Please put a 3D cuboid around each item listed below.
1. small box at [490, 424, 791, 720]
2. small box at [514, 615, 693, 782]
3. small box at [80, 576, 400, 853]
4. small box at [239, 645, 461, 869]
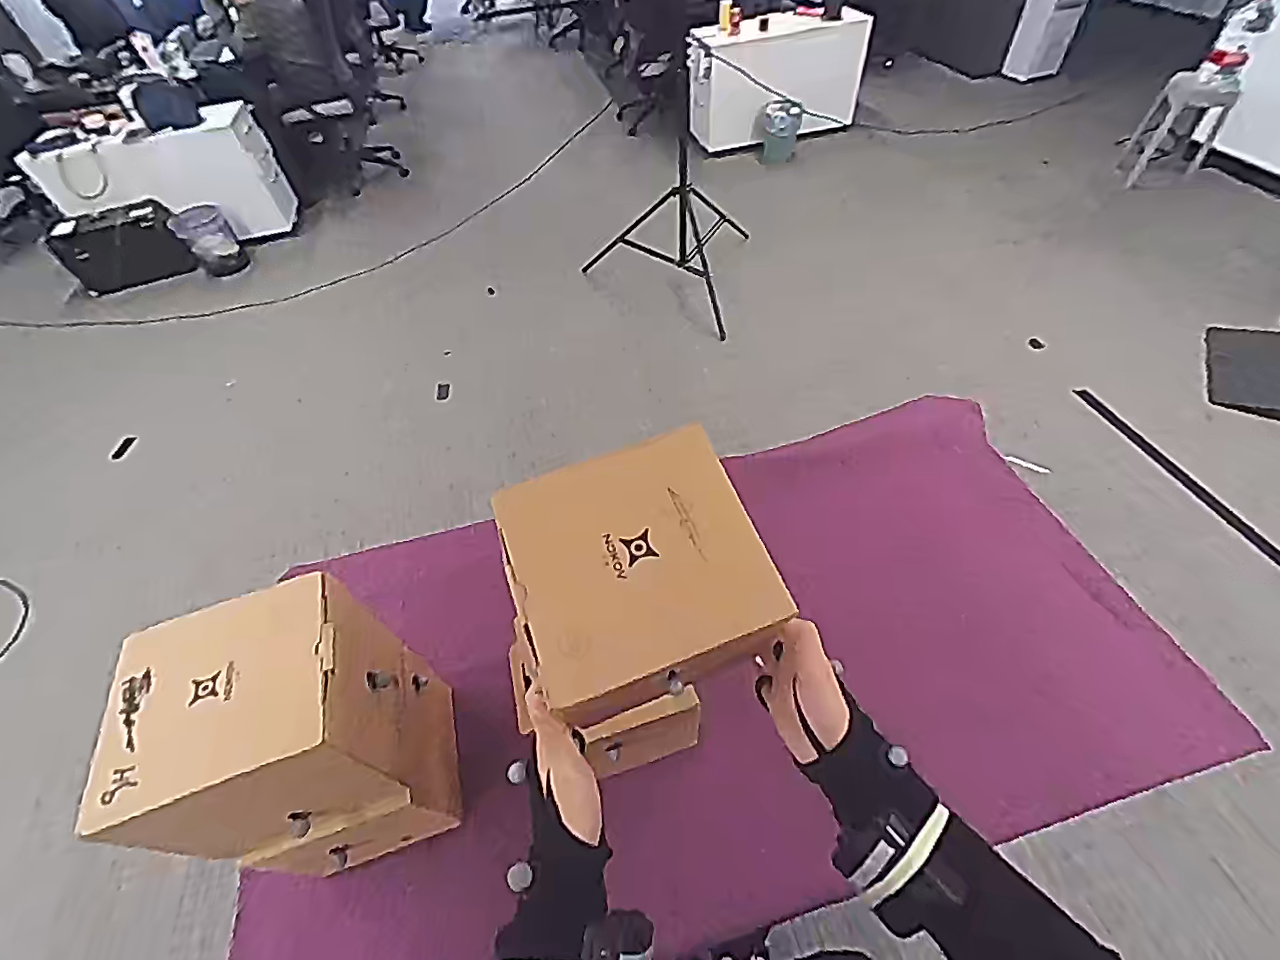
[{"bbox_3d":[-0.003,0.086,0.454,0.179,0.176,0.168,-20,65,-9],"label":"small box"},{"bbox_3d":[-0.041,0.250,0.670,0.179,0.176,0.168,-16,52,-8],"label":"small box"},{"bbox_3d":[-0.342,0.222,0.511,0.179,0.176,0.168,-18,52,-10],"label":"small box"},{"bbox_3d":[-0.323,0.328,0.634,0.168,0.176,0.179,-17,52,-9],"label":"small box"}]
